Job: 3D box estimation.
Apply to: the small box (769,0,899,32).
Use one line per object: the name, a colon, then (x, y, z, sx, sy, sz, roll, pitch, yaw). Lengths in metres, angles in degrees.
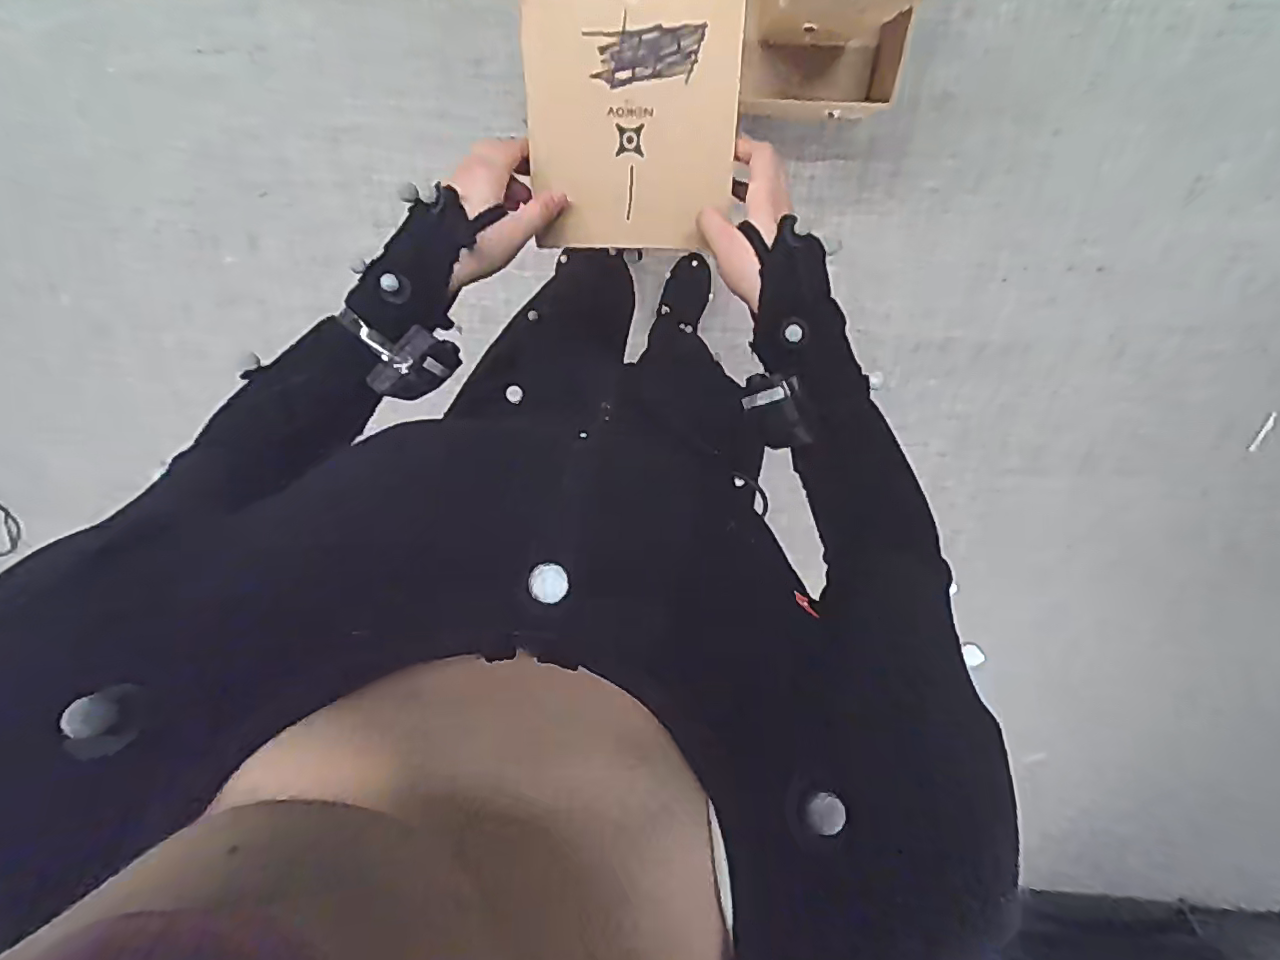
small box: (0.283, -0.761, 0.759, 0.168, 0.176, 0.179, 6, 123, 2)

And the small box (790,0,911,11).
small box: (0.271, -0.674, 0.621, 0.168, 0.176, 0.179, 3, 121, 4)

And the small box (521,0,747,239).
small box: (-0.004, -0.315, 0.487, 0.168, 0.176, 0.179, 1, 115, 2)
